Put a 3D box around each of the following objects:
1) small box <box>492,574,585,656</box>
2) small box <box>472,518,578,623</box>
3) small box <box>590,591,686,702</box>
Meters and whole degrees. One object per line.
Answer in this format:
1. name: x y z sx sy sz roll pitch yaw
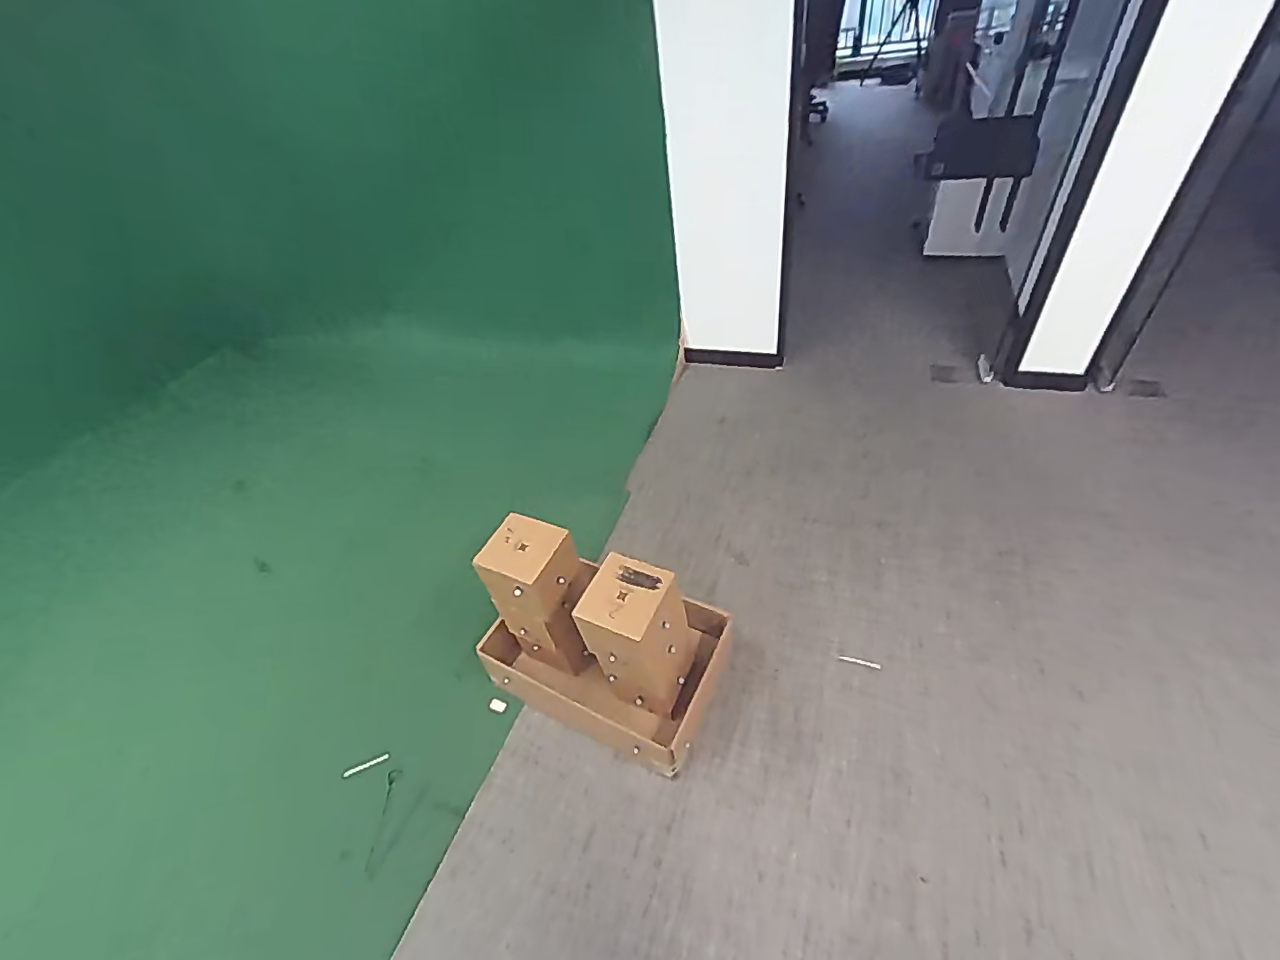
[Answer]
1. small box: -0.262 0.335 1.452 0.168 0.176 0.179 16 51 24
2. small box: -0.272 0.225 1.328 0.179 0.176 0.168 15 50 23
3. small box: 0.005 0.410 1.321 0.168 0.176 0.179 14 48 24
